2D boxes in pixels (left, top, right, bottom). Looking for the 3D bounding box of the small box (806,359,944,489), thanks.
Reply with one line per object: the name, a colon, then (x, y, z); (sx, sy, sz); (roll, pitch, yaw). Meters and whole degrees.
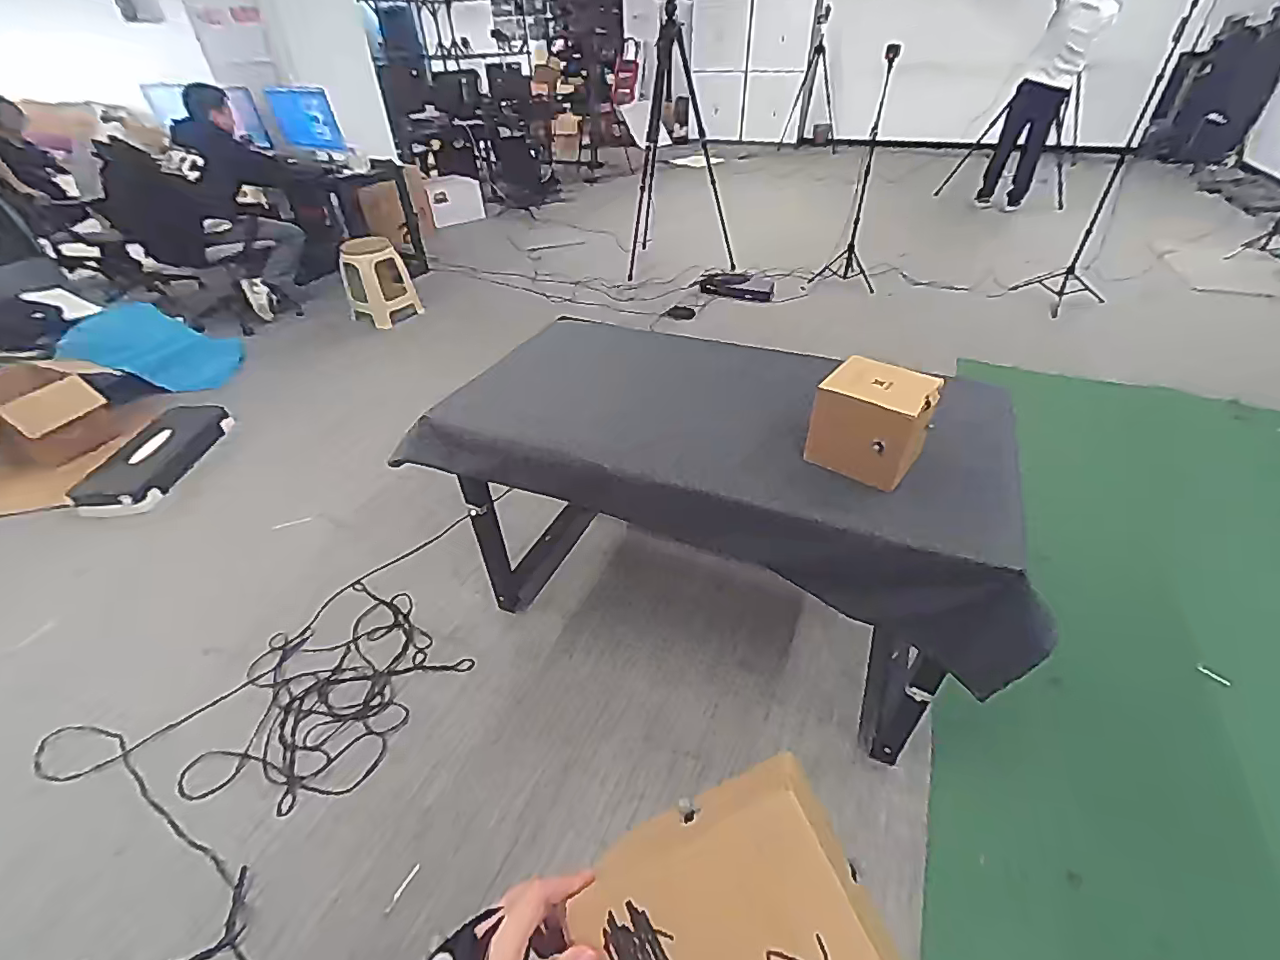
small box: (0.439, -0.105, 1.029); (0.179, 0.176, 0.168); (25, 45, 31)
